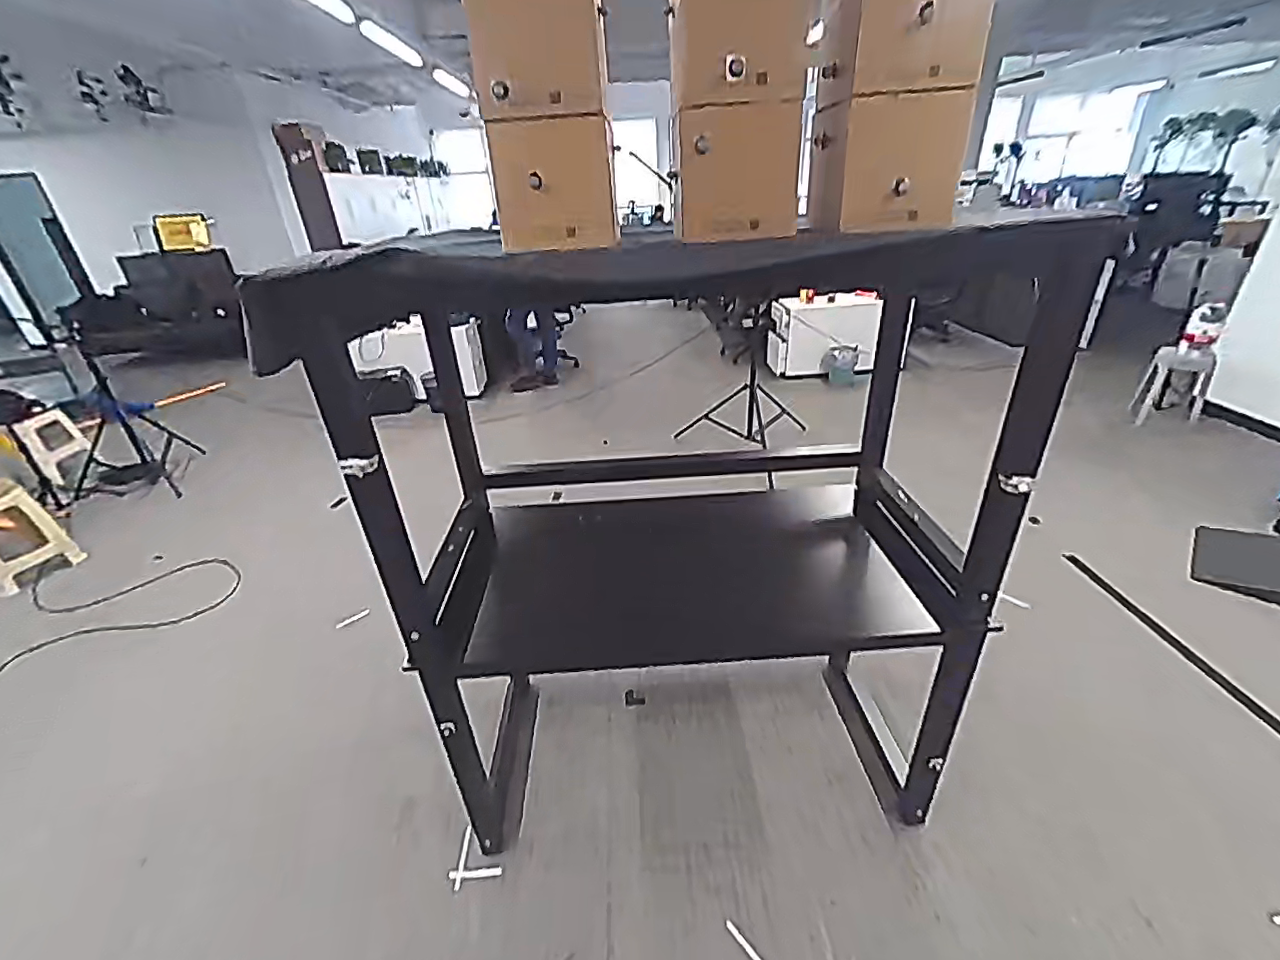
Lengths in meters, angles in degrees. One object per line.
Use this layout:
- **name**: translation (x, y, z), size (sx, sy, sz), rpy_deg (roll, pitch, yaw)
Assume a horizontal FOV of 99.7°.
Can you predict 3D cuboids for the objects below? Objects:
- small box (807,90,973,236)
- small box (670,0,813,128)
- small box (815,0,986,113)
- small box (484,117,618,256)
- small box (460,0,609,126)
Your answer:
- **small box**: translation (0.358, -0.466, 0.815), size (0.168, 0.176, 0.179), rpy_deg (-4, 28, 1)
- **small box**: translation (0.130, -0.601, 0.751), size (0.168, 0.176, 0.179), rpy_deg (-5, 28, 0)
- **small box**: translation (0.349, -0.612, 0.739), size (0.168, 0.176, 0.179), rpy_deg (-2, 28, 1)
- **small box**: translation (-0.123, -0.442, 0.832), size (0.168, 0.176, 0.179), rpy_deg (-2, 27, 2)
- **small box**: translation (-0.134, -0.586, 0.754), size (0.168, 0.176, 0.179), rpy_deg (-3, 26, 2)
